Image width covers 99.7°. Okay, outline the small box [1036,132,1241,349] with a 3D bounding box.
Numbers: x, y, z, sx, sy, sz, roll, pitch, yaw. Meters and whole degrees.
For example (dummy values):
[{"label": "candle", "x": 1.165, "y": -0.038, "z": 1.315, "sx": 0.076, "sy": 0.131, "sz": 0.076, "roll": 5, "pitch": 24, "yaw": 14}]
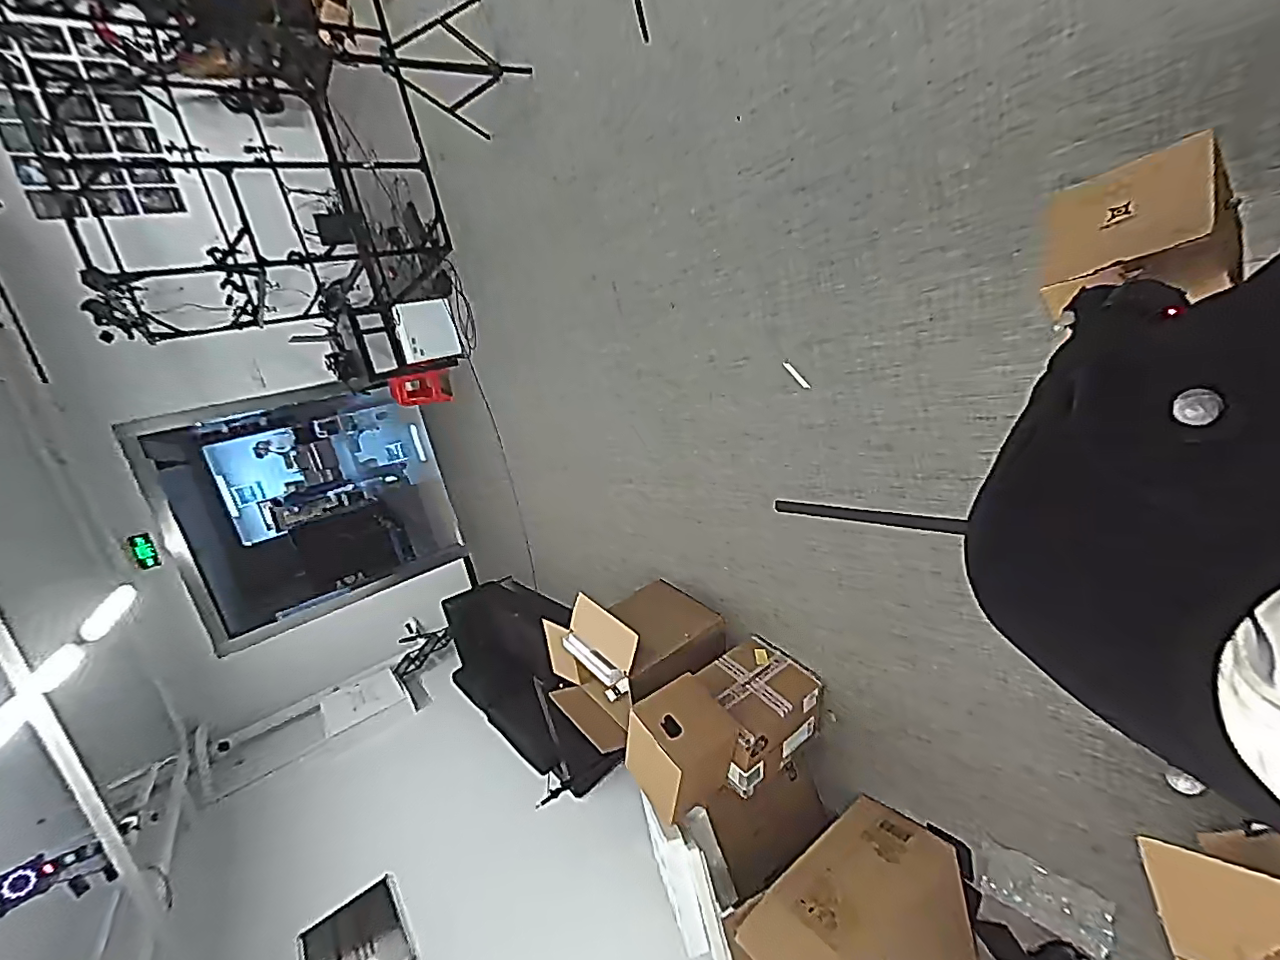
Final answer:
[{"label": "small box", "x": 0.659, "y": -0.295, "z": 0.715, "sx": 0.176, "sy": 0.179, "sz": 0.168, "roll": 31, "pitch": 159, "yaw": -29}]
